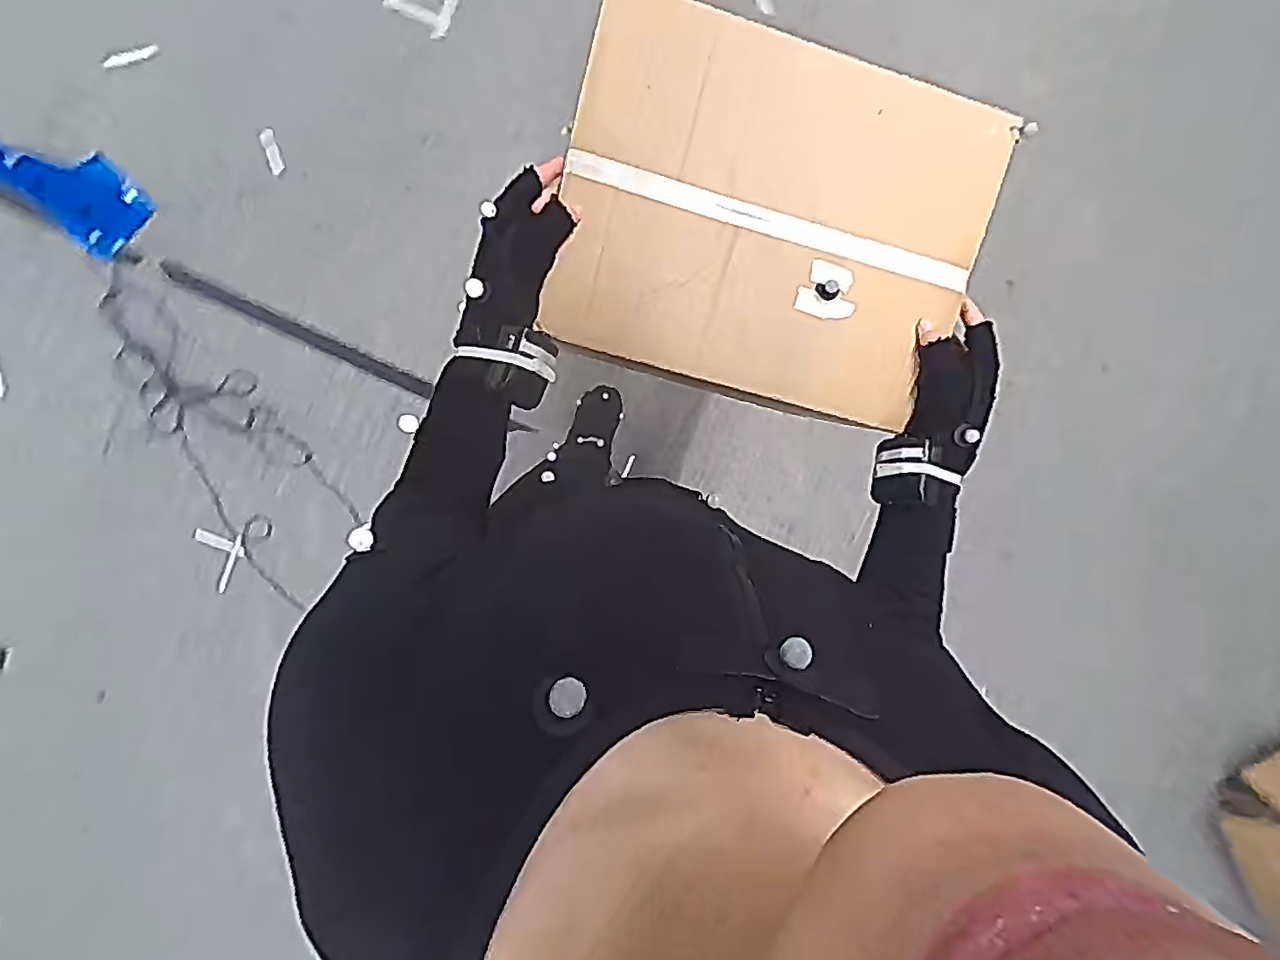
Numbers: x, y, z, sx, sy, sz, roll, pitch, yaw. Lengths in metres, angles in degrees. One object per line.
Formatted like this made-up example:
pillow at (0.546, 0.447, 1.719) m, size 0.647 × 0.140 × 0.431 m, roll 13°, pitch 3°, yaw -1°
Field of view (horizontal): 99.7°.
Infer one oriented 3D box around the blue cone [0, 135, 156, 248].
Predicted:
blue cone at (-1.347, -0.701, 1.216) m, size 0.193 × 0.380 × 0.192 m, roll -44°, pitch 95°, yaw 1°
